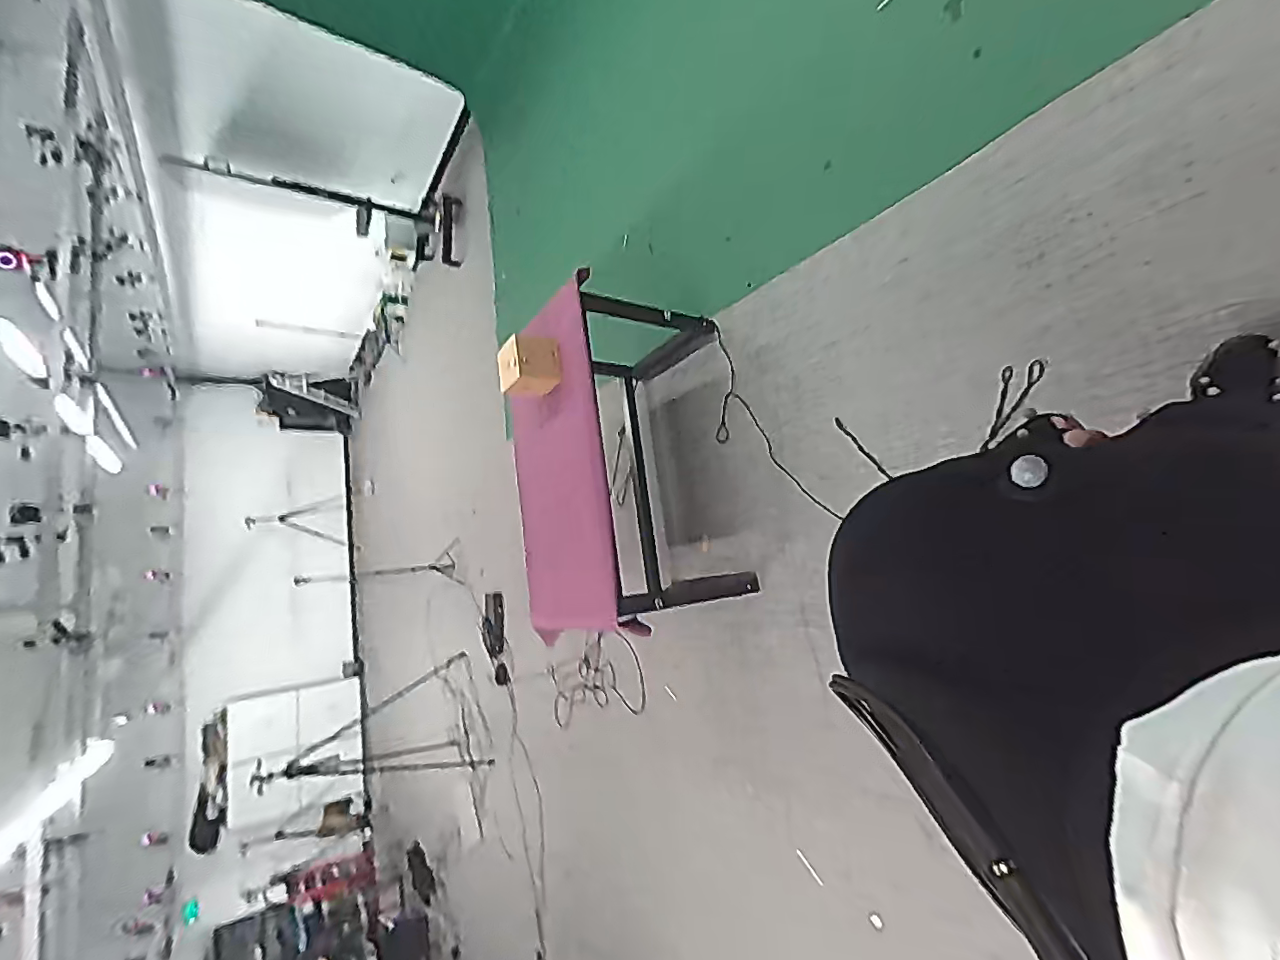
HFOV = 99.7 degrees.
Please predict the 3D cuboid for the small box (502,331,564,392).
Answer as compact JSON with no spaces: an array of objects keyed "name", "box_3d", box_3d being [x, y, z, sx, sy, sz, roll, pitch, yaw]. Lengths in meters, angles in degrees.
[{"name":"small box","box_3d":[-0.398,-0.435,2.012,0.179,0.176,0.168,-22,74,53]}]
